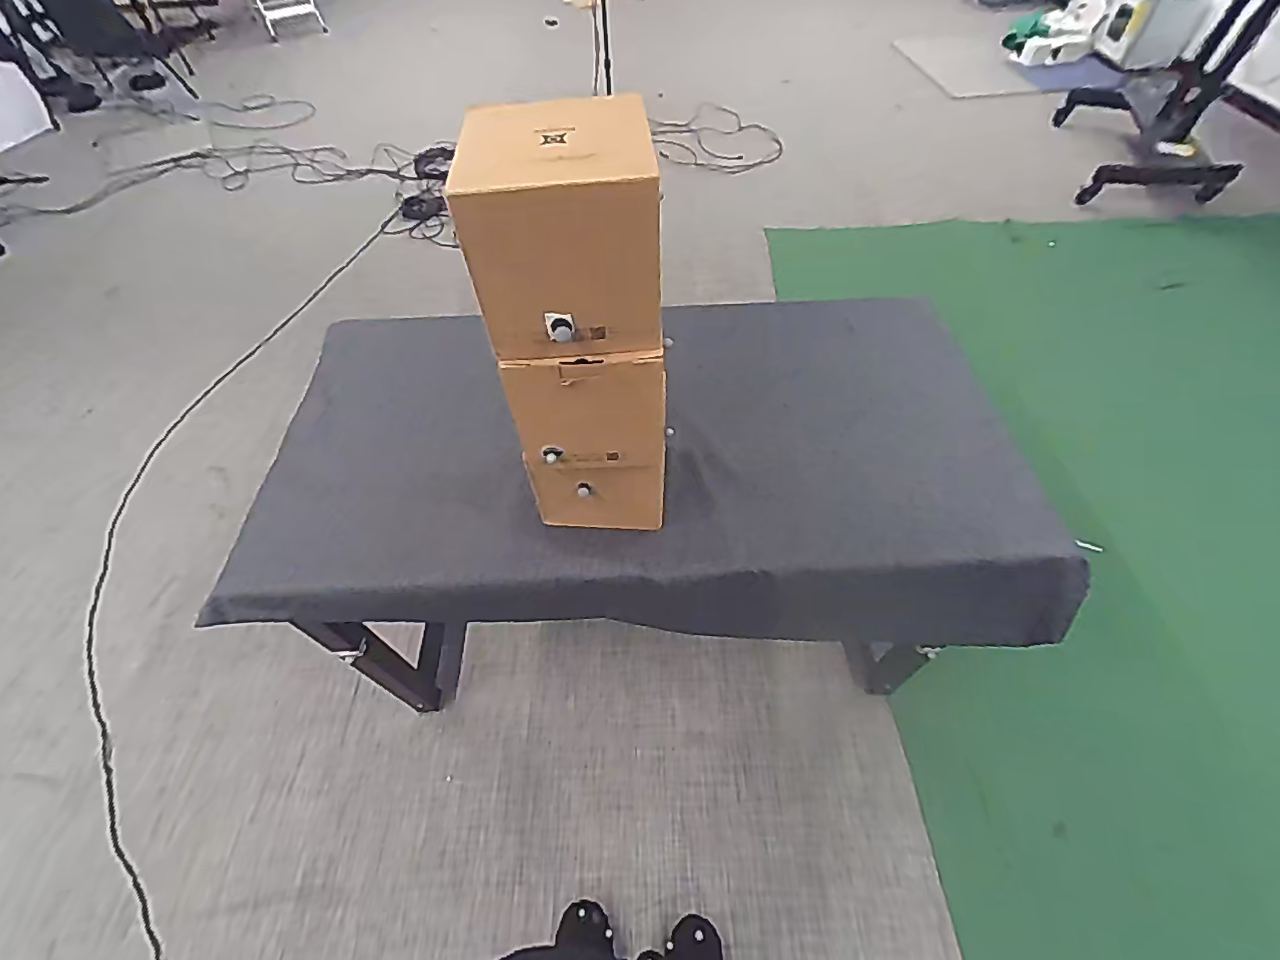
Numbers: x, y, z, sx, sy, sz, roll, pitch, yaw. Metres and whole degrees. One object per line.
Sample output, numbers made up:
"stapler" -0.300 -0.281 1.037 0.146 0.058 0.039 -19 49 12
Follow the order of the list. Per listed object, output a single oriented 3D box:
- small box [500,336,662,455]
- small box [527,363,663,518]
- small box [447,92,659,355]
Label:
"small box" -0.062 -0.143 0.654 0.168 0.176 0.179 -5 55 -1
"small box" -0.055 -0.056 0.797 0.179 0.176 0.168 0 52 2
"small box" -0.072 -0.247 0.530 0.168 0.176 0.179 -6 54 -1
